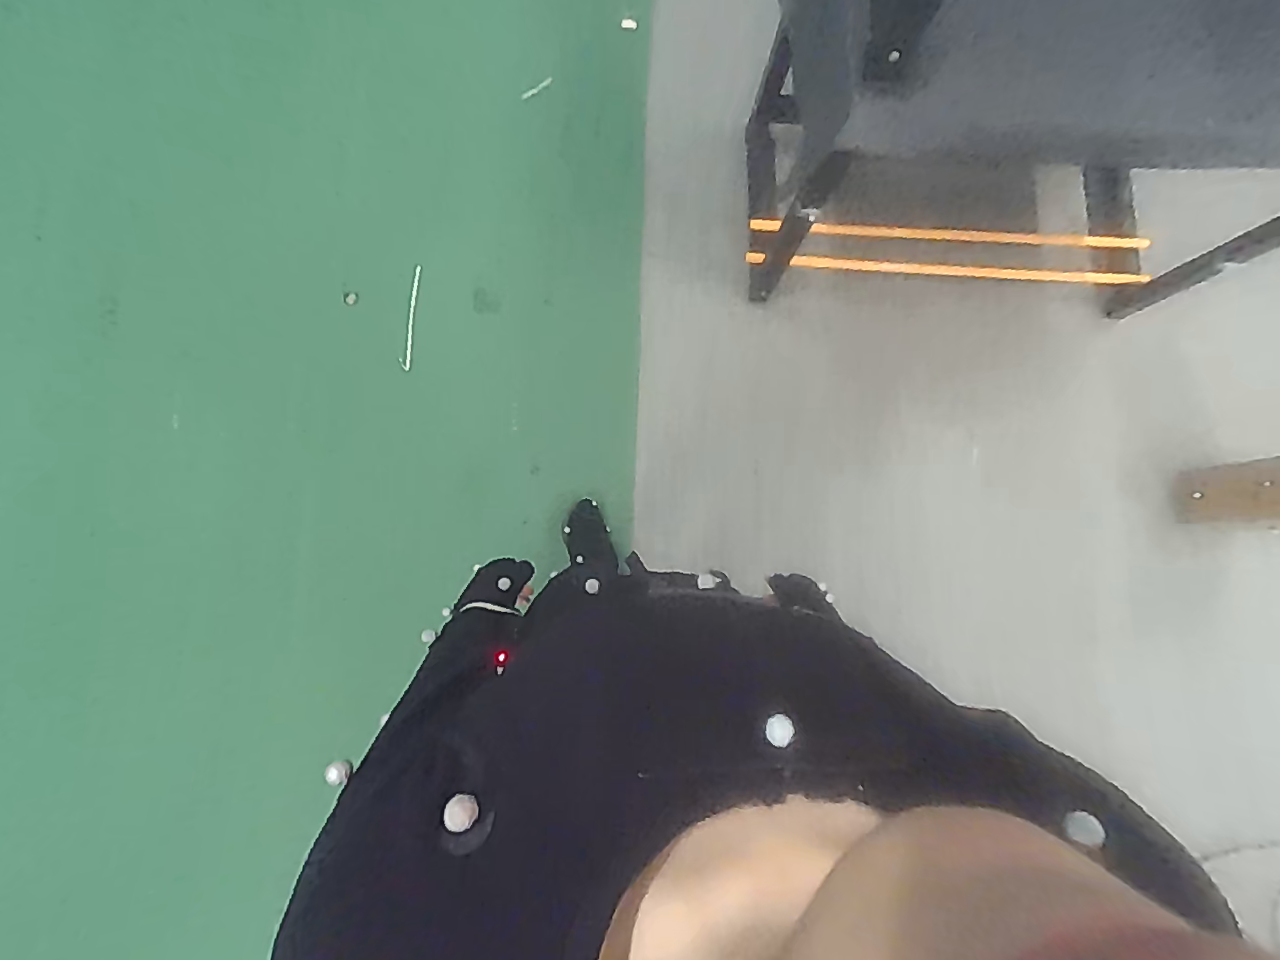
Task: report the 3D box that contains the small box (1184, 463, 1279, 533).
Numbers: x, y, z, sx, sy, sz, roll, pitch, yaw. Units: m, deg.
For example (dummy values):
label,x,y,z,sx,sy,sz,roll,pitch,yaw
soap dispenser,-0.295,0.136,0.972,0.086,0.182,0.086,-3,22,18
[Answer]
label,x,y,z,sx,sy,sz,roll,pitch,yaw
small box,1.693,0.056,1.515,0.179,0.176,0.168,7,81,-2
